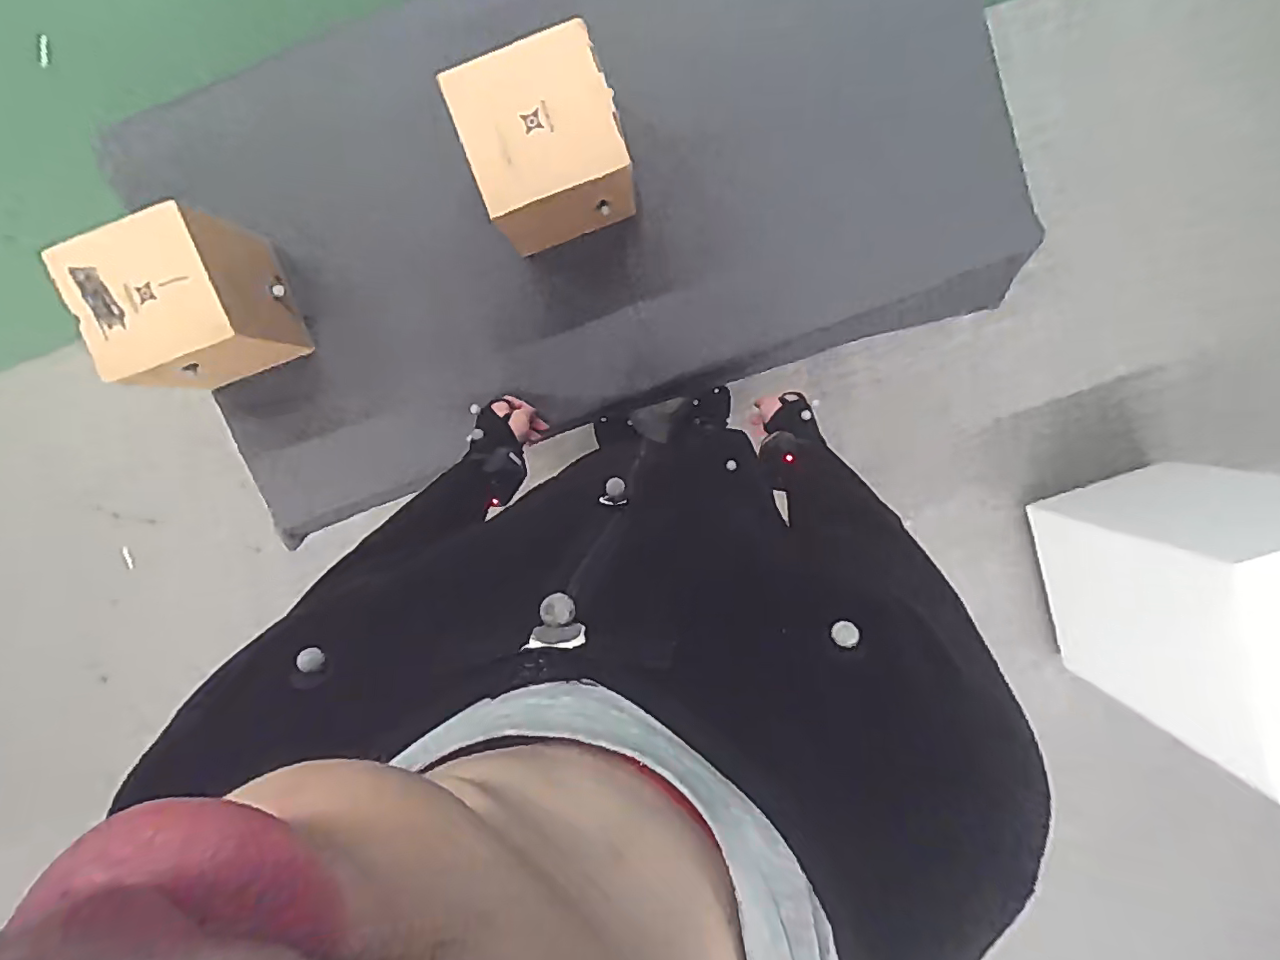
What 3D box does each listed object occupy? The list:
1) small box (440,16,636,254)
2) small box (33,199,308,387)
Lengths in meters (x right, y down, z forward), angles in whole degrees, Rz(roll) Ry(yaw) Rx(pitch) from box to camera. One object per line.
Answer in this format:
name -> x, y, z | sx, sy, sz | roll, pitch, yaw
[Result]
small box -> -0.113, -0.410, 0.678 | 0.179, 0.176, 0.168 | -20, 97, 4
small box -> -0.582, -0.224, 0.698 | 0.179, 0.176, 0.168 | -20, 99, 1
